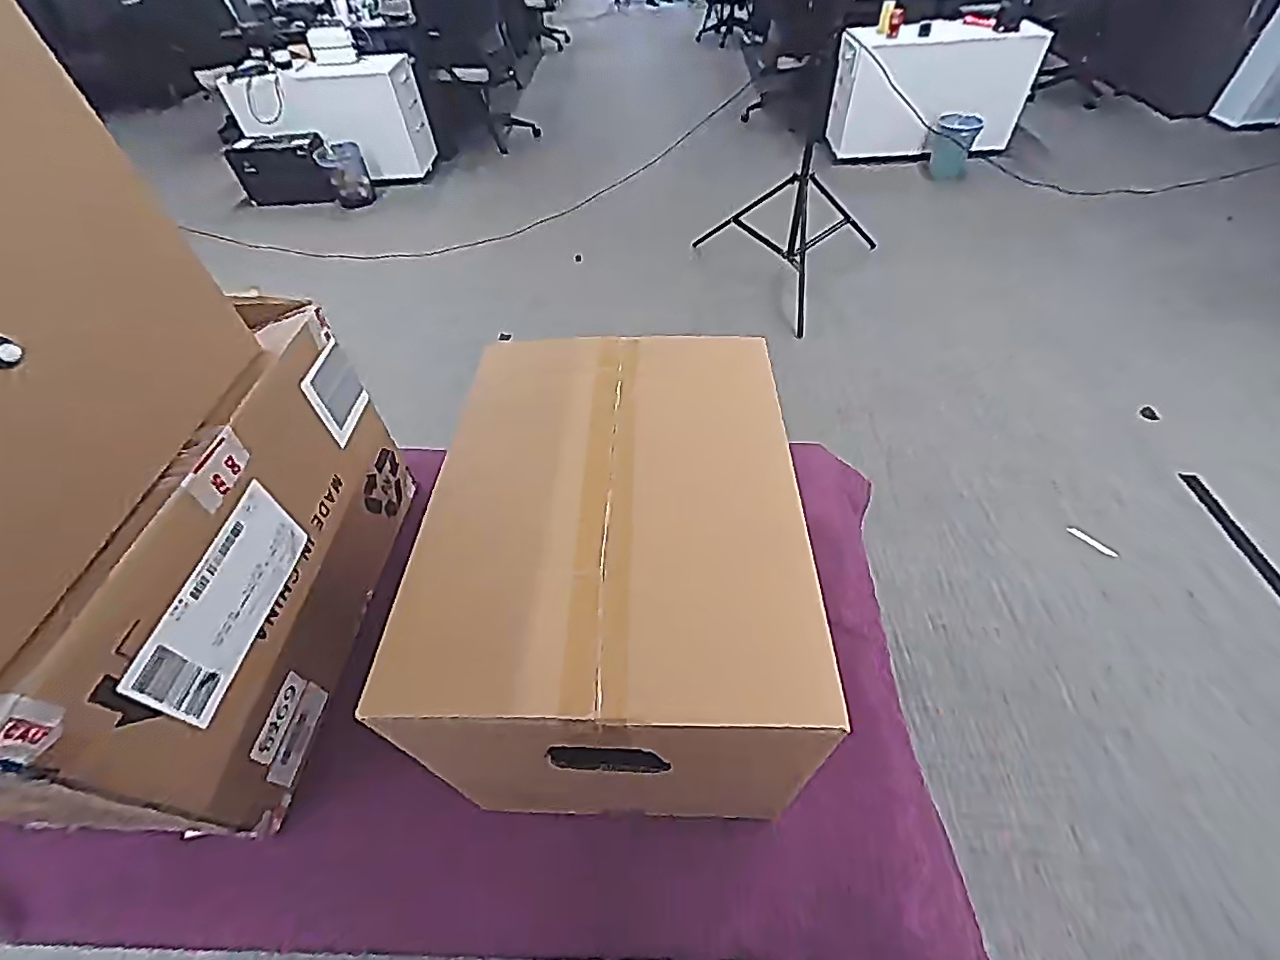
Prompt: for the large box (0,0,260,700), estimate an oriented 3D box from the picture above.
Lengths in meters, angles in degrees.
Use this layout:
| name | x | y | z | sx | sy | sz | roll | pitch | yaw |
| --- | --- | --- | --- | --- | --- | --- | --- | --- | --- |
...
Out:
| name | x | y | z | sx | sy | sz | roll | pitch | yaw |
| --- | --- | --- | --- | --- | --- | --- | --- | --- | --- |
| large box | -0.573 | -0.088 | 0.368 | 0.320 | 0.320 | 0.408 | -2 | 50 | 4 |
